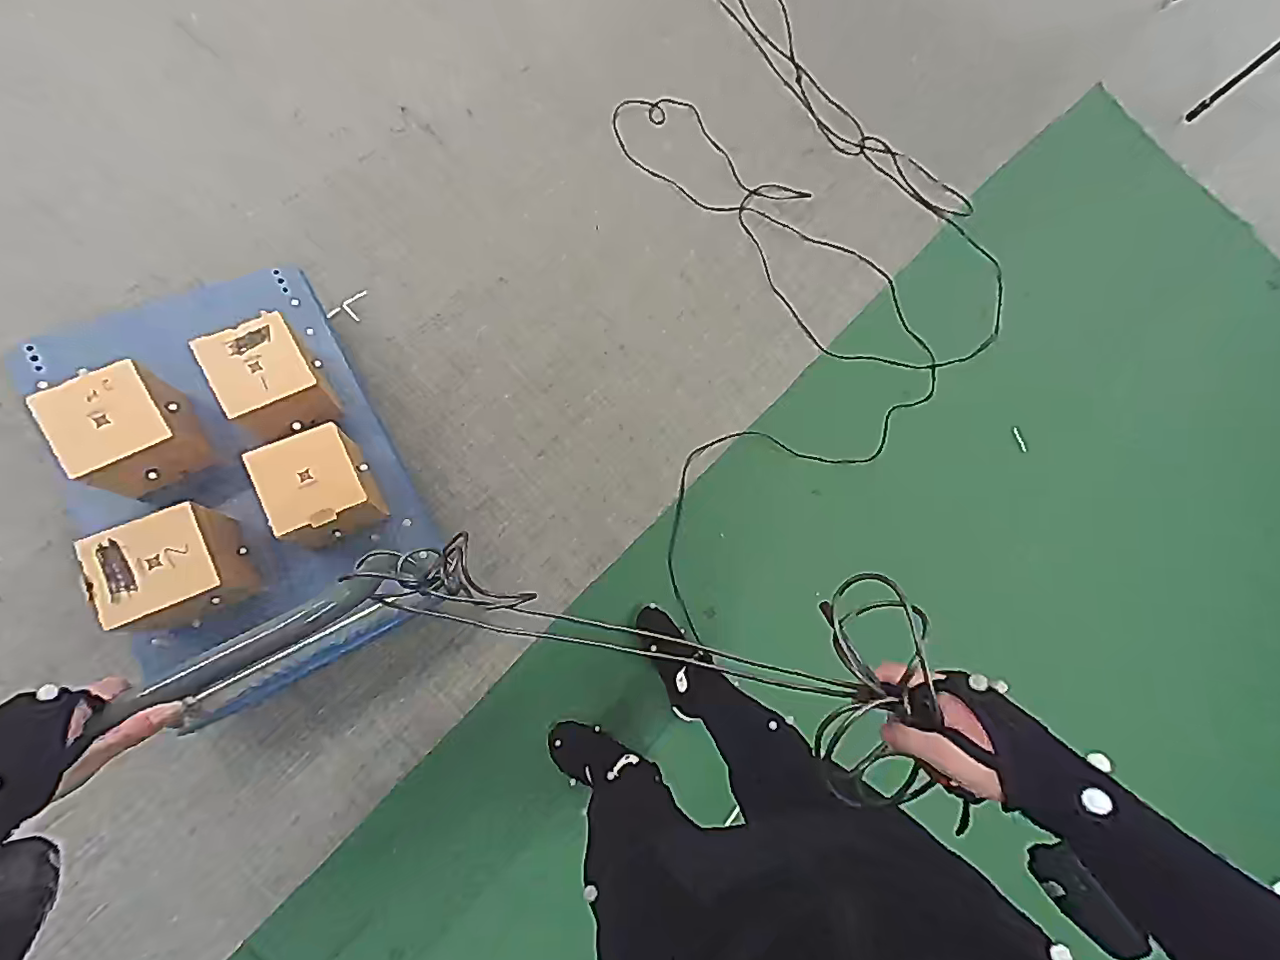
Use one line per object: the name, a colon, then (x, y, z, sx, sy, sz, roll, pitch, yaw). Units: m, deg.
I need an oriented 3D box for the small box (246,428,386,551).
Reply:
small box: (-0.637, 0.026, 1.084, 0.168, 0.176, 0.179, -25, 83, -17)

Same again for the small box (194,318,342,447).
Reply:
small box: (-0.751, -0.193, 1.112, 0.168, 0.176, 0.179, -29, 85, -17)

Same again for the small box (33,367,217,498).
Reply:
small box: (-0.968, -0.080, 1.036, 0.168, 0.176, 0.179, -31, 84, -18)
